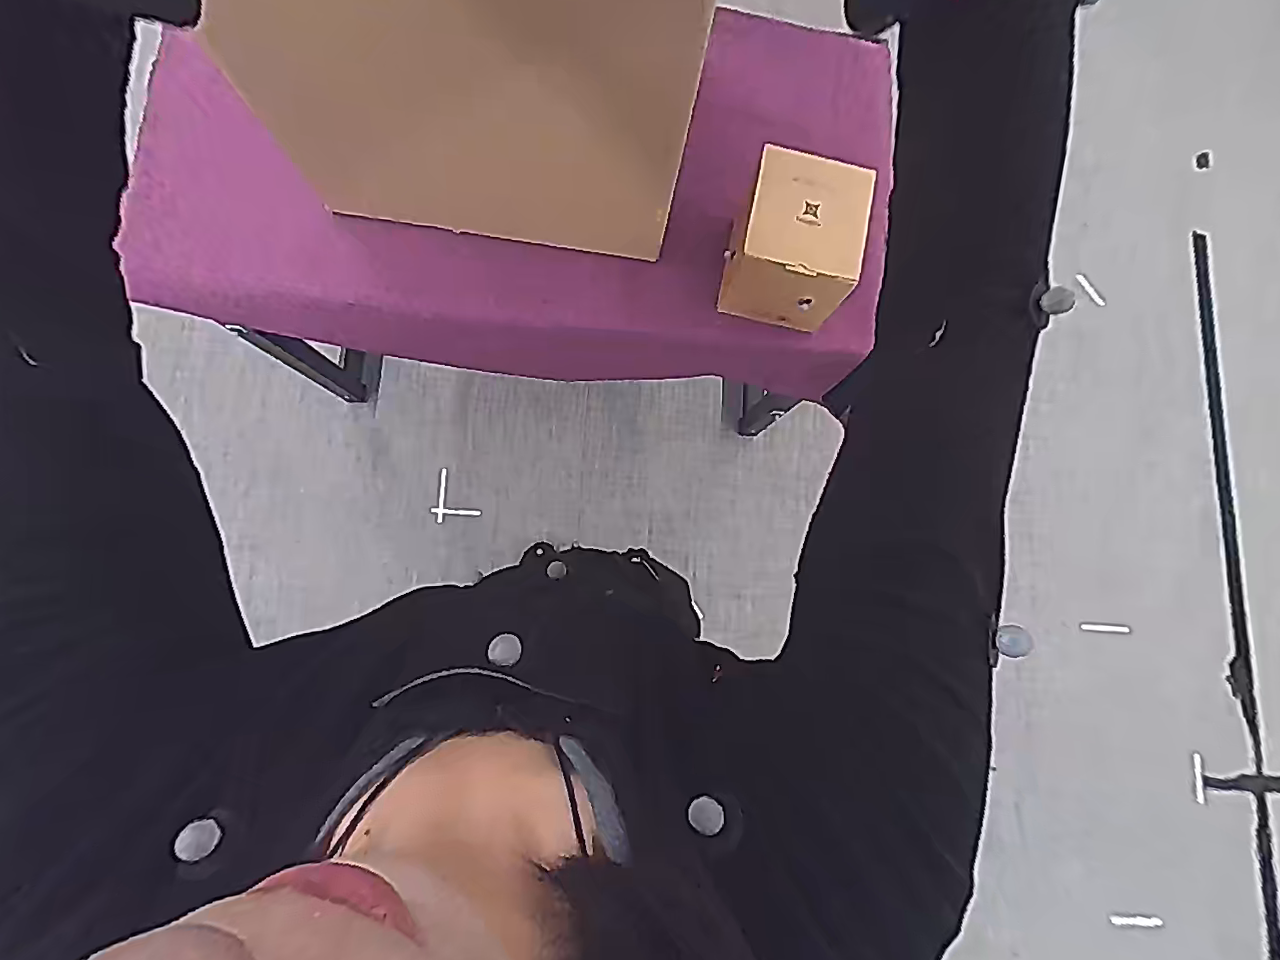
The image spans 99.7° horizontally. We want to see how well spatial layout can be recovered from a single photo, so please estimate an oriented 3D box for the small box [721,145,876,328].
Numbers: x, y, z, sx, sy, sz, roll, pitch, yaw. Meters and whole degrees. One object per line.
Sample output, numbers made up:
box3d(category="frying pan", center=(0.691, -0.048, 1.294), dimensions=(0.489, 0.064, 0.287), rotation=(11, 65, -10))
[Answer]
box3d(category="small box", center=(0.229, -0.354, 0.820), dimensions=(0.168, 0.176, 0.179), rotation=(12, 80, -4))
